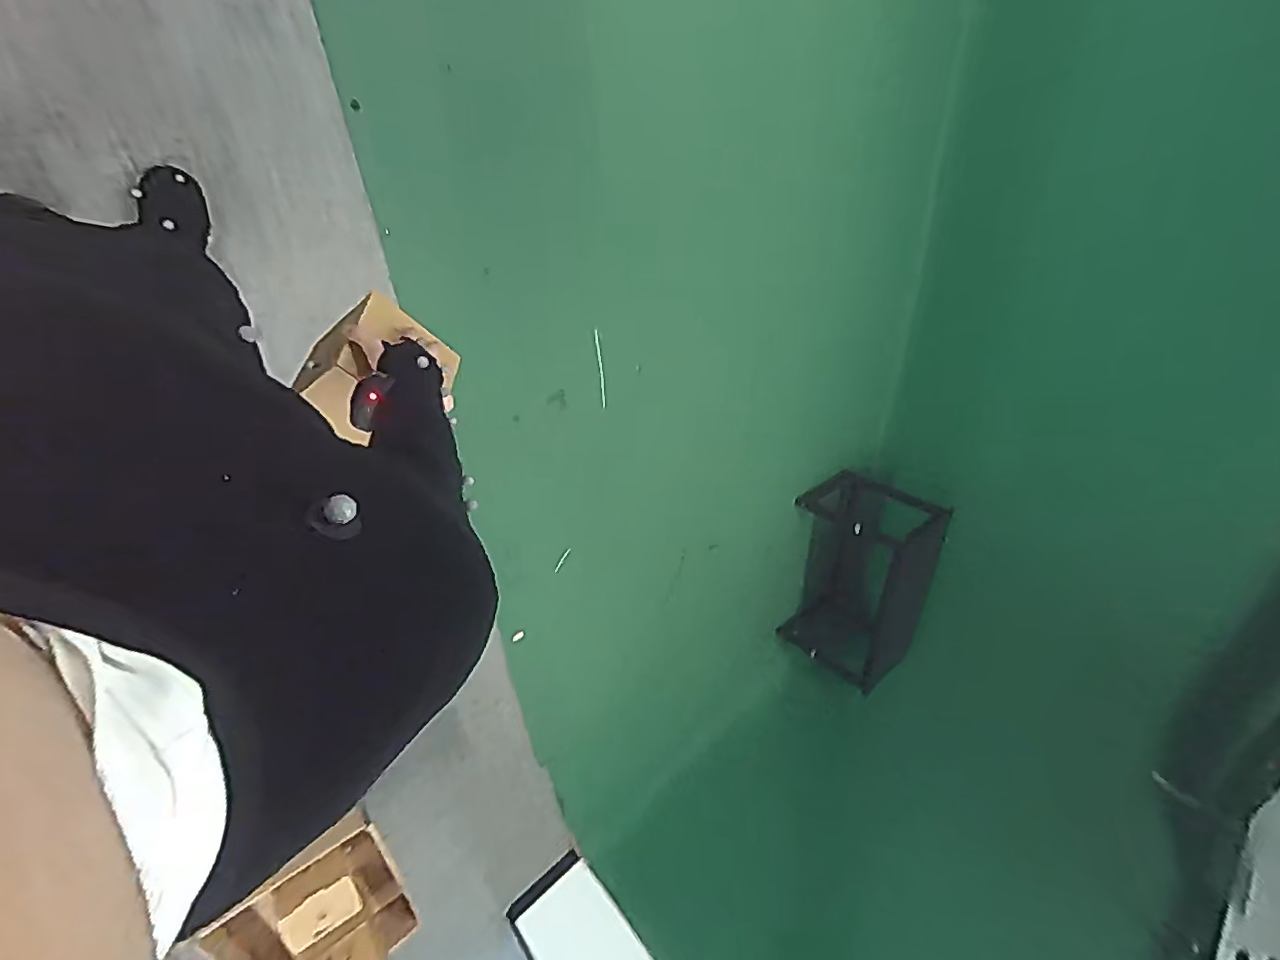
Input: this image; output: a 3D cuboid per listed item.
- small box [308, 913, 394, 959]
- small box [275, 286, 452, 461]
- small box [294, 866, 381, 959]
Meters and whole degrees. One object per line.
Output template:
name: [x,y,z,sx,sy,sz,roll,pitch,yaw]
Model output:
small box: [-0.773,1.342,1.470,0.168,0.176,0.179,-26,126,-32]
small box: [-0.431,-0.157,0.849,0.168,0.176,0.179,40,37,-40]
small box: [-0.879,1.288,1.580,0.168,0.176,0.179,-26,127,-34]
